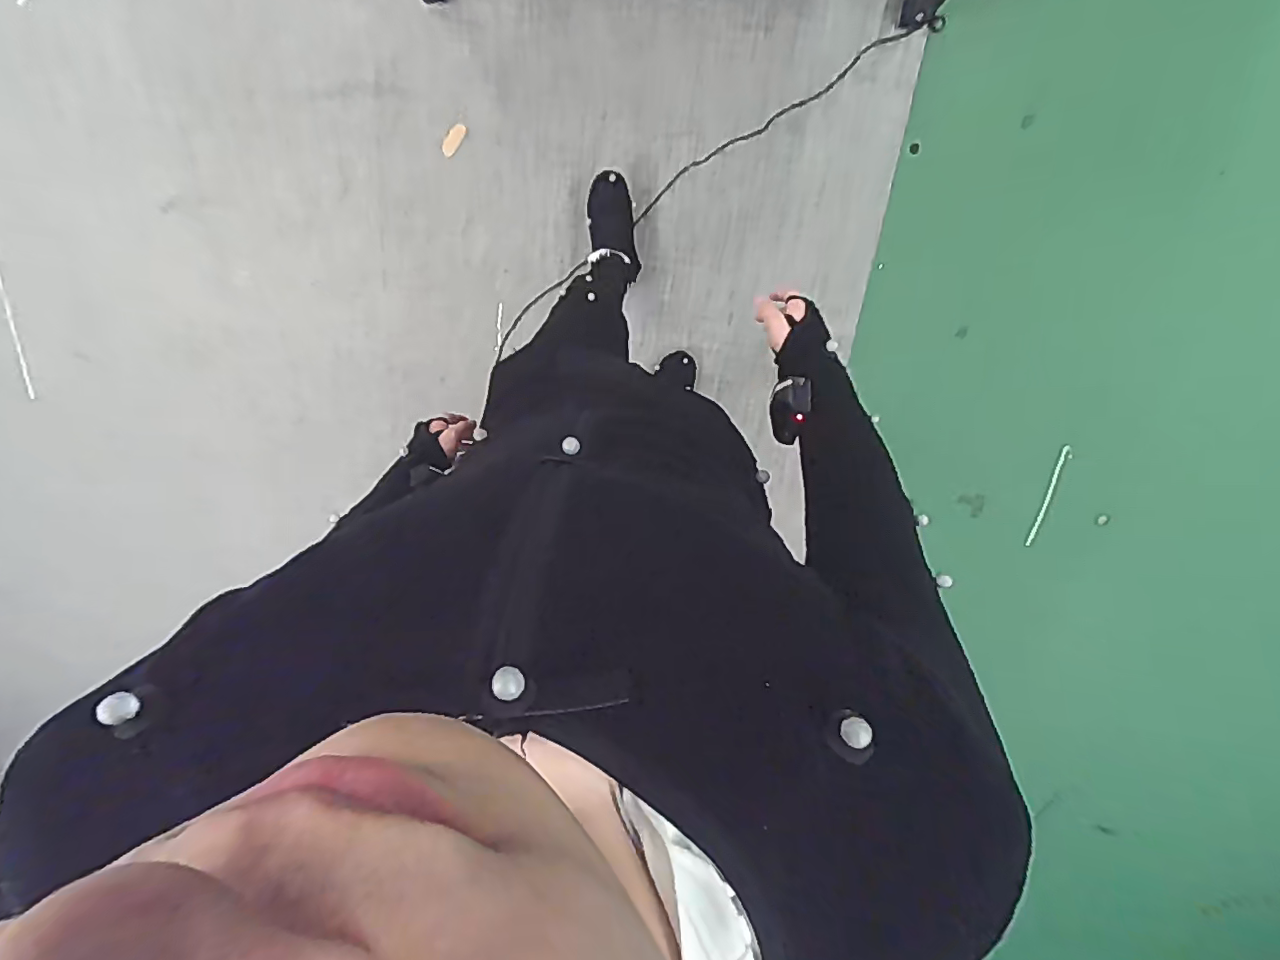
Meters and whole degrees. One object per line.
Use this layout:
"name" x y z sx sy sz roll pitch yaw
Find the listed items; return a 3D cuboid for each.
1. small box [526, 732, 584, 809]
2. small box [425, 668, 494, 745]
"small box" -0.311 1.042 1.951 0.179 0.176 0.168 10 110 1
"small box" -0.629 0.784 1.889 0.179 0.176 0.168 11 110 0
